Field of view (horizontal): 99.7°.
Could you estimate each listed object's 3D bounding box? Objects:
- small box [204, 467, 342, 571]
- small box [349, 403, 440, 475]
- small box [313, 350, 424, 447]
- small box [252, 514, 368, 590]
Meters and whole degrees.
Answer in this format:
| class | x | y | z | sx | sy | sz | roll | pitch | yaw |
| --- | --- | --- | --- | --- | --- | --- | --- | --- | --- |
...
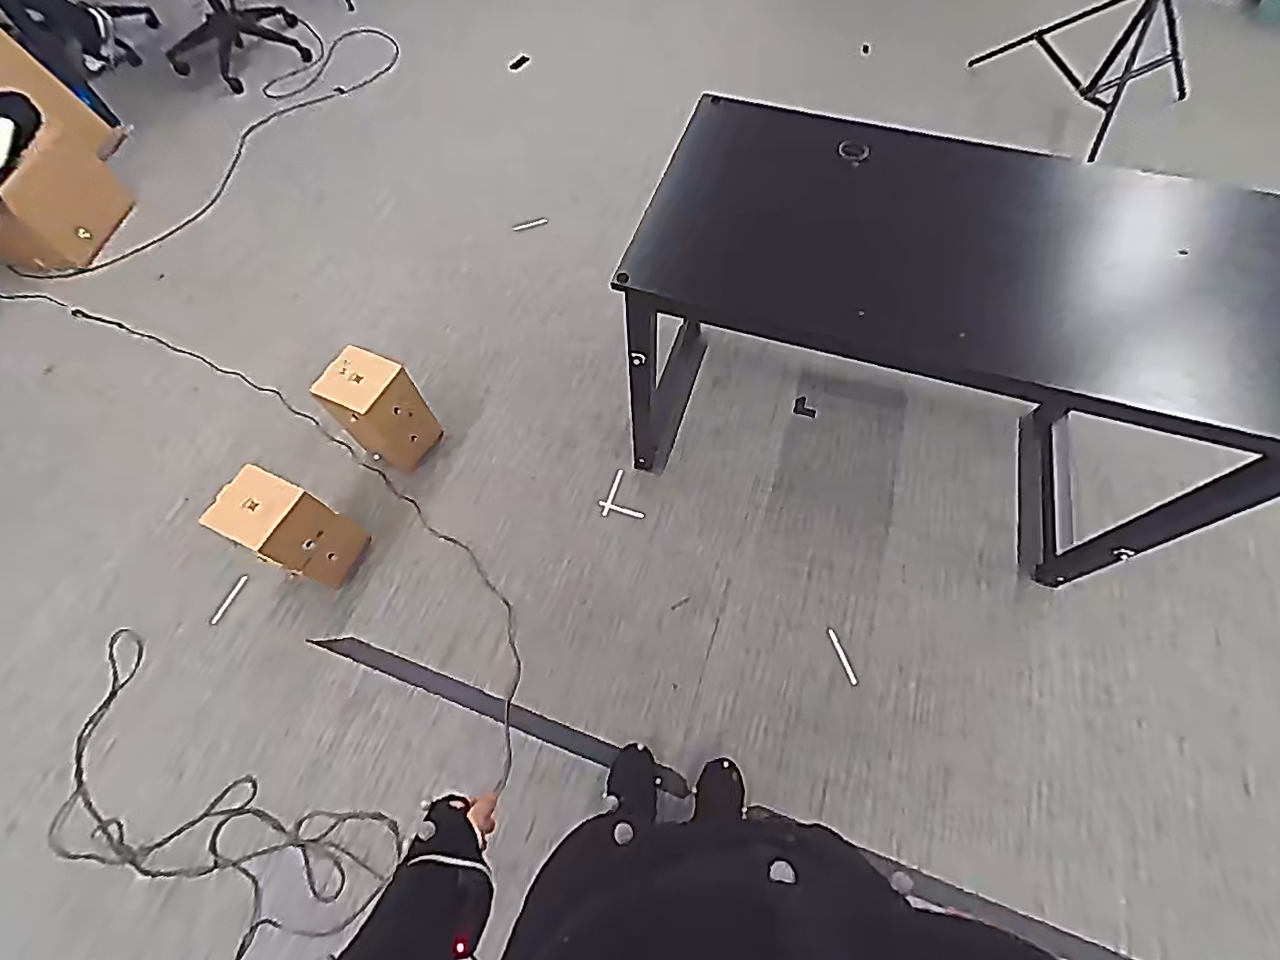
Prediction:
| class | x | y | z | sx | sy | sz | roll | pitch | yaw |
| --- | --- | --- | --- | --- | --- | --- | --- | --- | --- |
| small box | -0.875 | 0.100 | 1.306 | 0.179 | 0.176 | 0.168 | 22 | 67 | 10 |
| small box | -0.723 | -0.146 | 1.606 | 0.168 | 0.176 | 0.179 | 25 | 67 | 13 |
| small box | -0.718 | -0.212 | 1.455 | 0.179 | 0.176 | 0.168 | 22 | 65 | 12 |
| small box | -0.871 | 0.177 | 1.450 | 0.168 | 0.176 | 0.179 | 17 | 66 | 9 |
